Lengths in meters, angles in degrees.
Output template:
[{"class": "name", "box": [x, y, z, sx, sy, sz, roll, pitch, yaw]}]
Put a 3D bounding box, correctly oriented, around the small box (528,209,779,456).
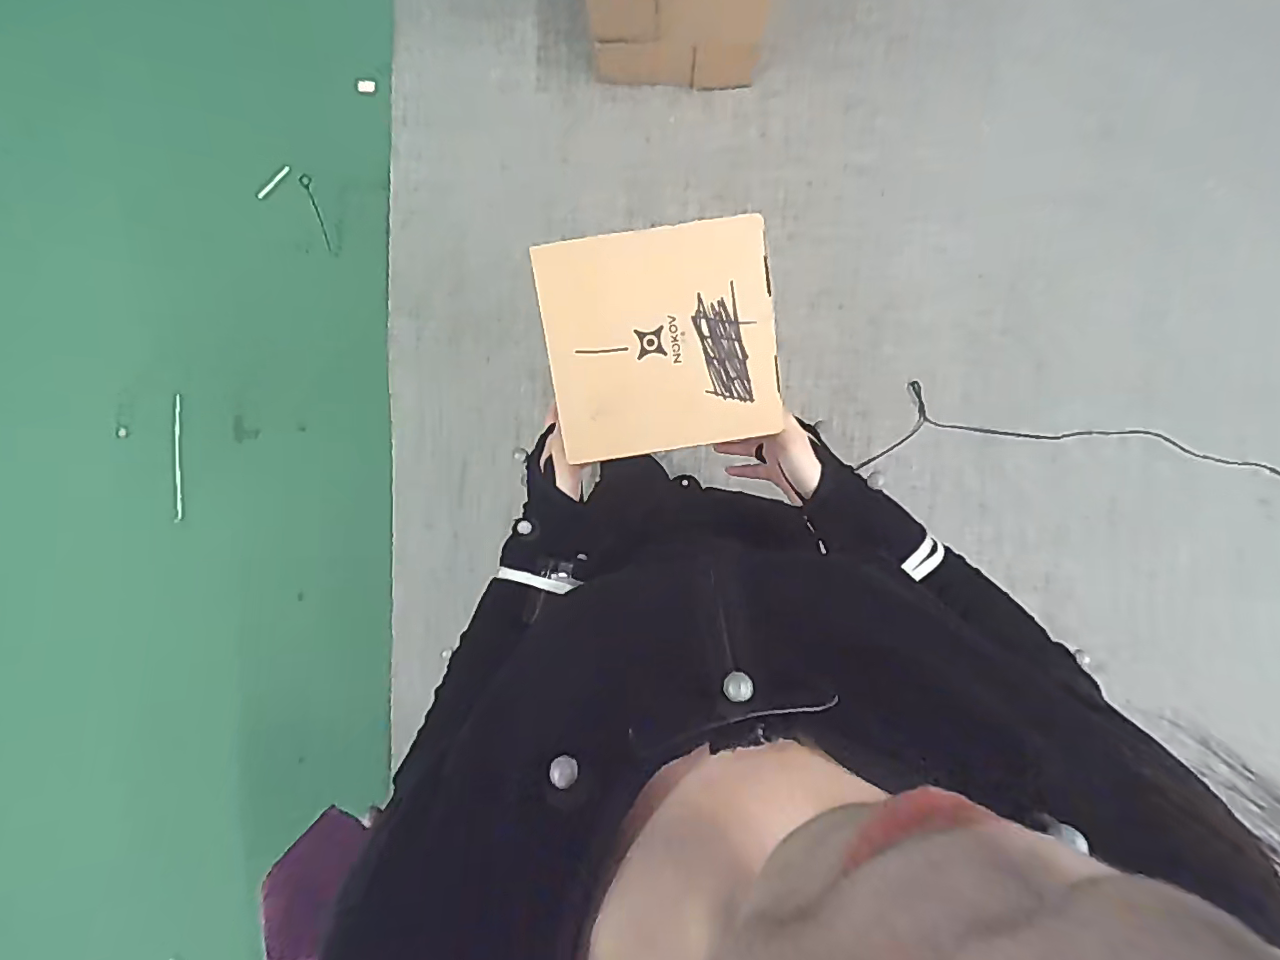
[{"class": "small box", "box": [0.010, -0.123, 0.485, 0.179, 0.176, 0.168, -8, 100, -1]}]
